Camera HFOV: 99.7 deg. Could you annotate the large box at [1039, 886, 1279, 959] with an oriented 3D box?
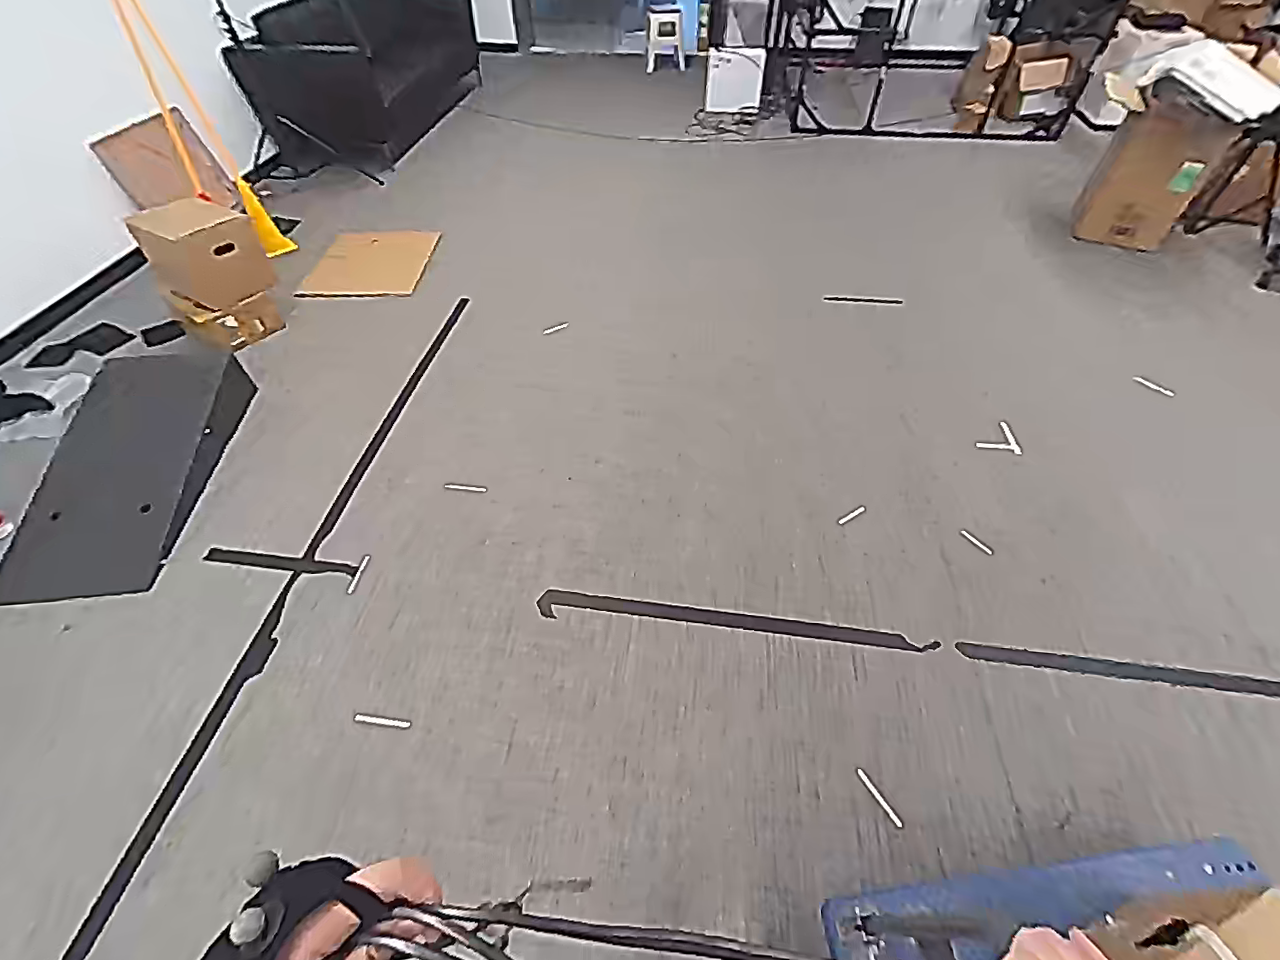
[{"bbox_3d":[0.869,0.879,0.762,0.320,0.320,0.408,-18,53,-13],"label":"large box"}]
